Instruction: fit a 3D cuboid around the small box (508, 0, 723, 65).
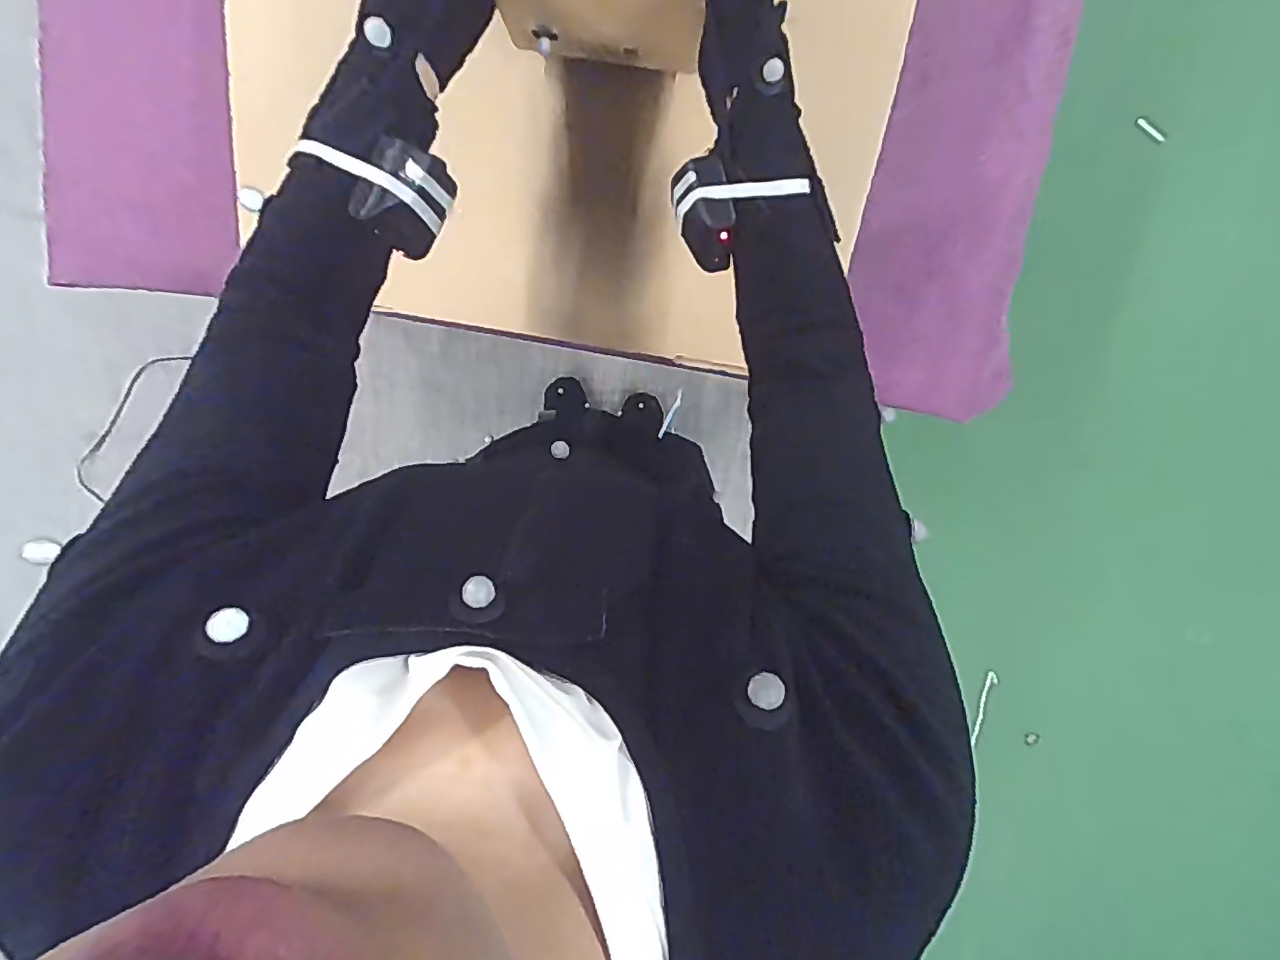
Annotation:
[{"bbox_3d":[-0.014,-0.424,0.369,0.168,0.176,0.179,5,103,0],"label":"small box"}]
